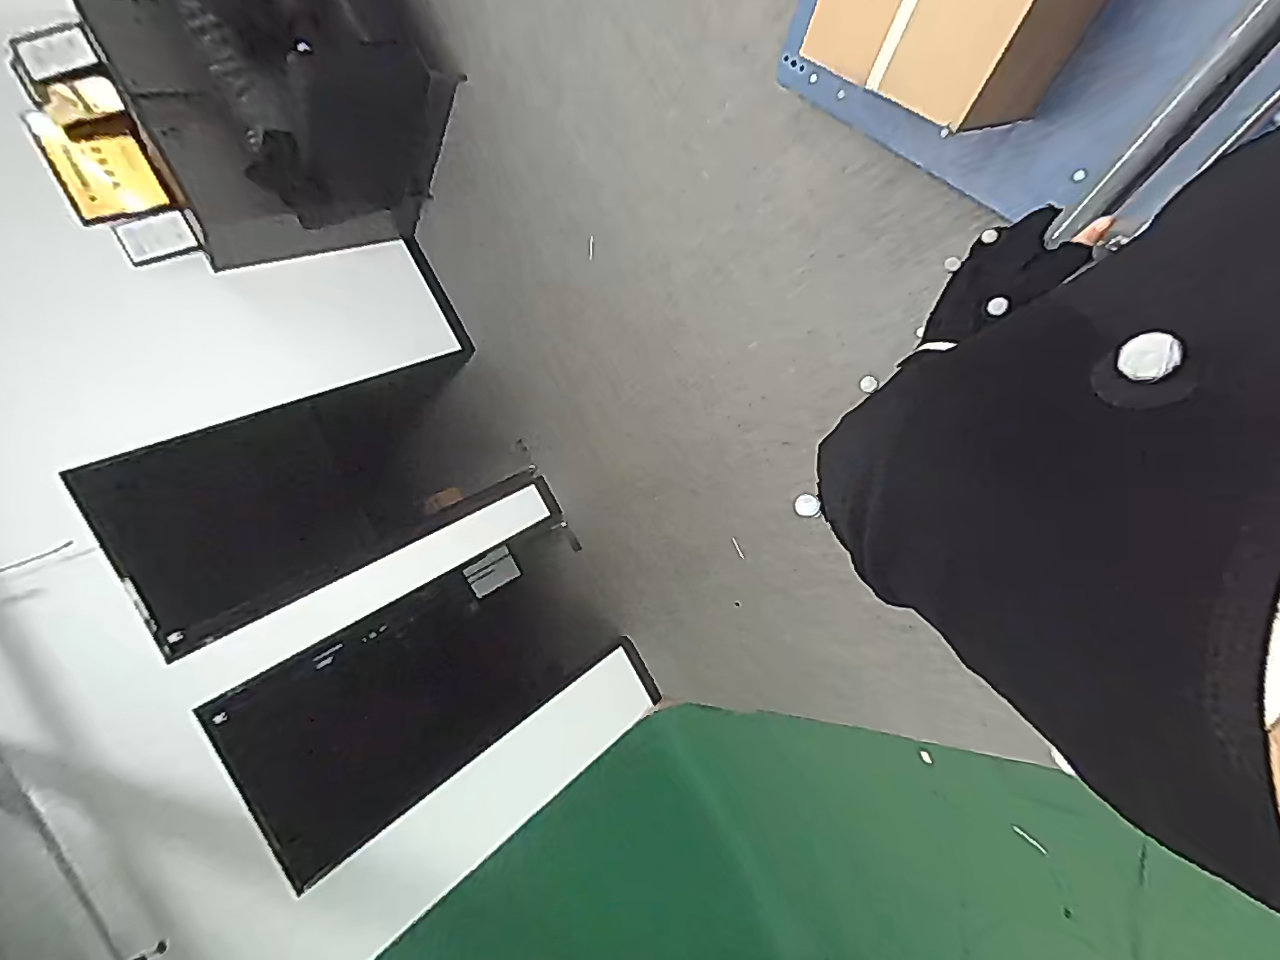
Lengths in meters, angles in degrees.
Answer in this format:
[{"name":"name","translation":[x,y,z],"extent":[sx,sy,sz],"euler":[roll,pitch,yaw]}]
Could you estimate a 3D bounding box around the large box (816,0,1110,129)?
[{"name":"large box","translation":[0.547,-0.819,0.804],"extent":[0.320,0.320,0.408],"euler":[47,145,21]}]
